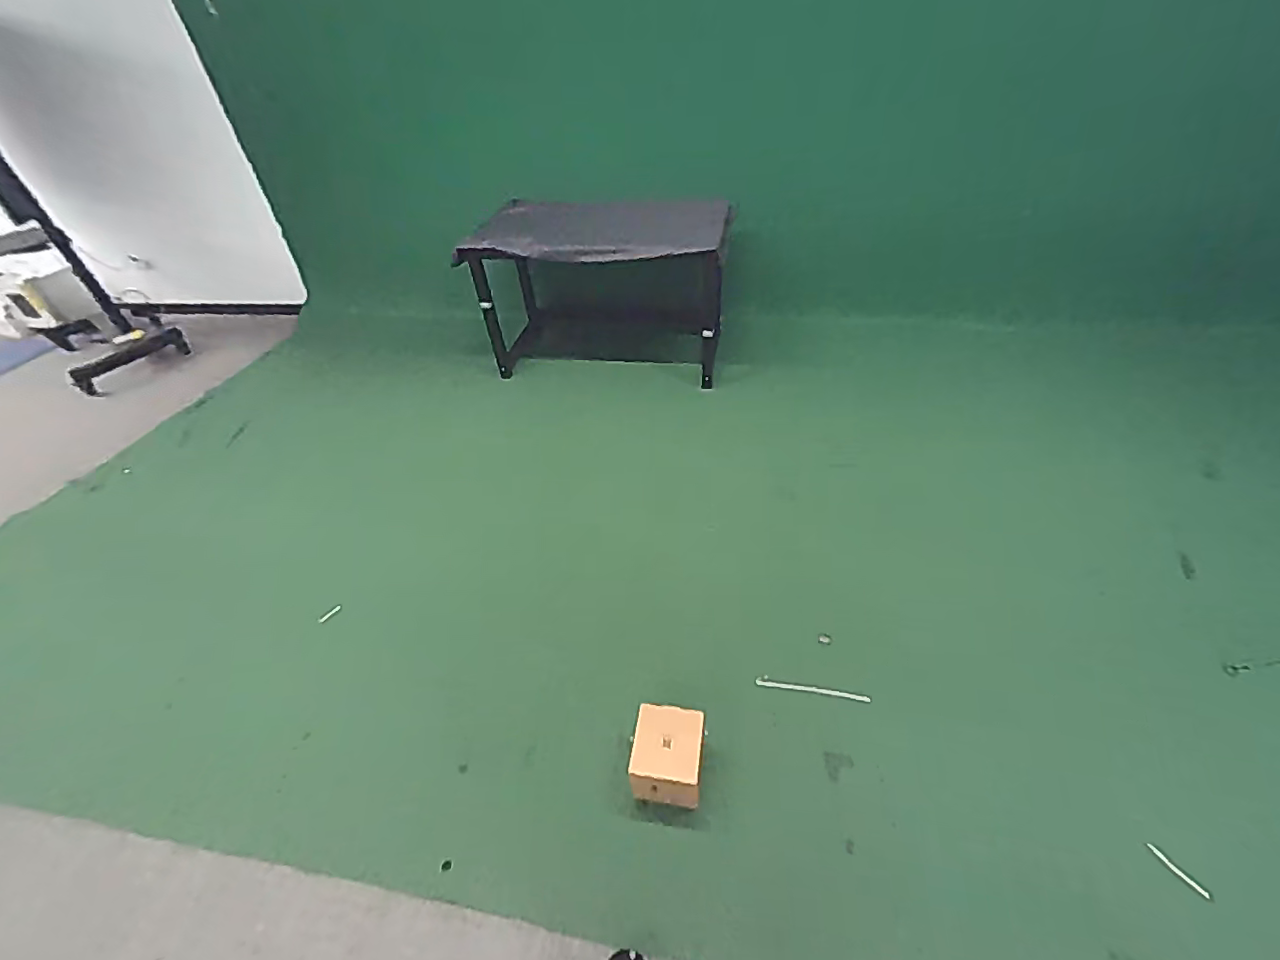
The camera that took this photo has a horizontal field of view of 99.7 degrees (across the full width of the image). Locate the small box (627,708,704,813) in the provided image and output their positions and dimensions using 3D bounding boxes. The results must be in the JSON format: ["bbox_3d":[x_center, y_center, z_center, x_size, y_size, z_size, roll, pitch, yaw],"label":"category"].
[{"bbox_3d":[0.071,0.708,1.361,0.168,0.176,0.179,3,40,11],"label":"small box"}]
